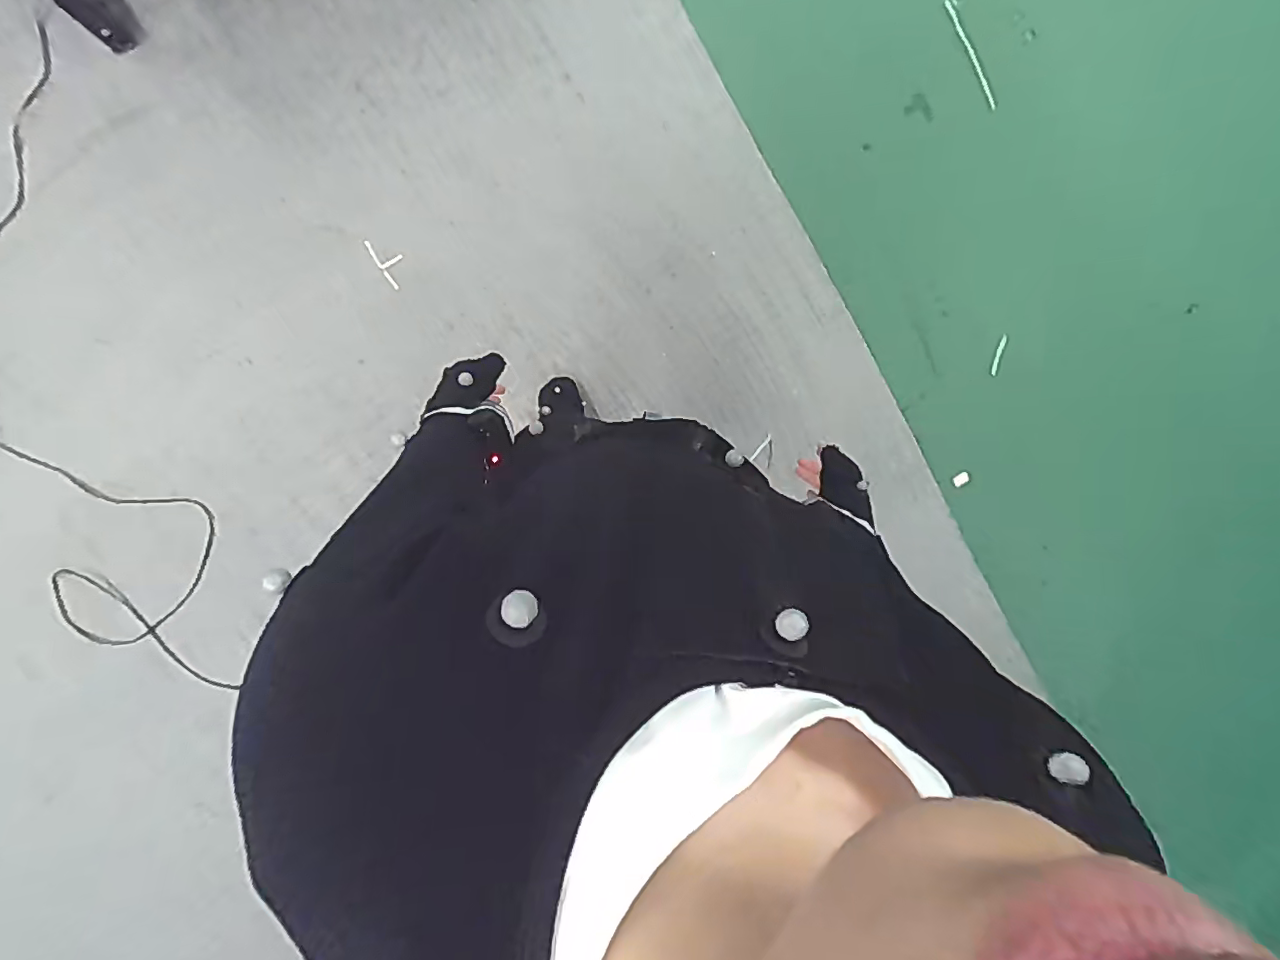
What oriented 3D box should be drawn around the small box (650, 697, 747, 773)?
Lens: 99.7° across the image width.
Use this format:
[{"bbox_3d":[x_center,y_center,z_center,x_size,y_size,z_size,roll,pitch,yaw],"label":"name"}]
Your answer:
[{"bbox_3d":[0.146,0.708,1.436,0.168,0.176,0.179,-39,100,-4],"label":"small box"}]
